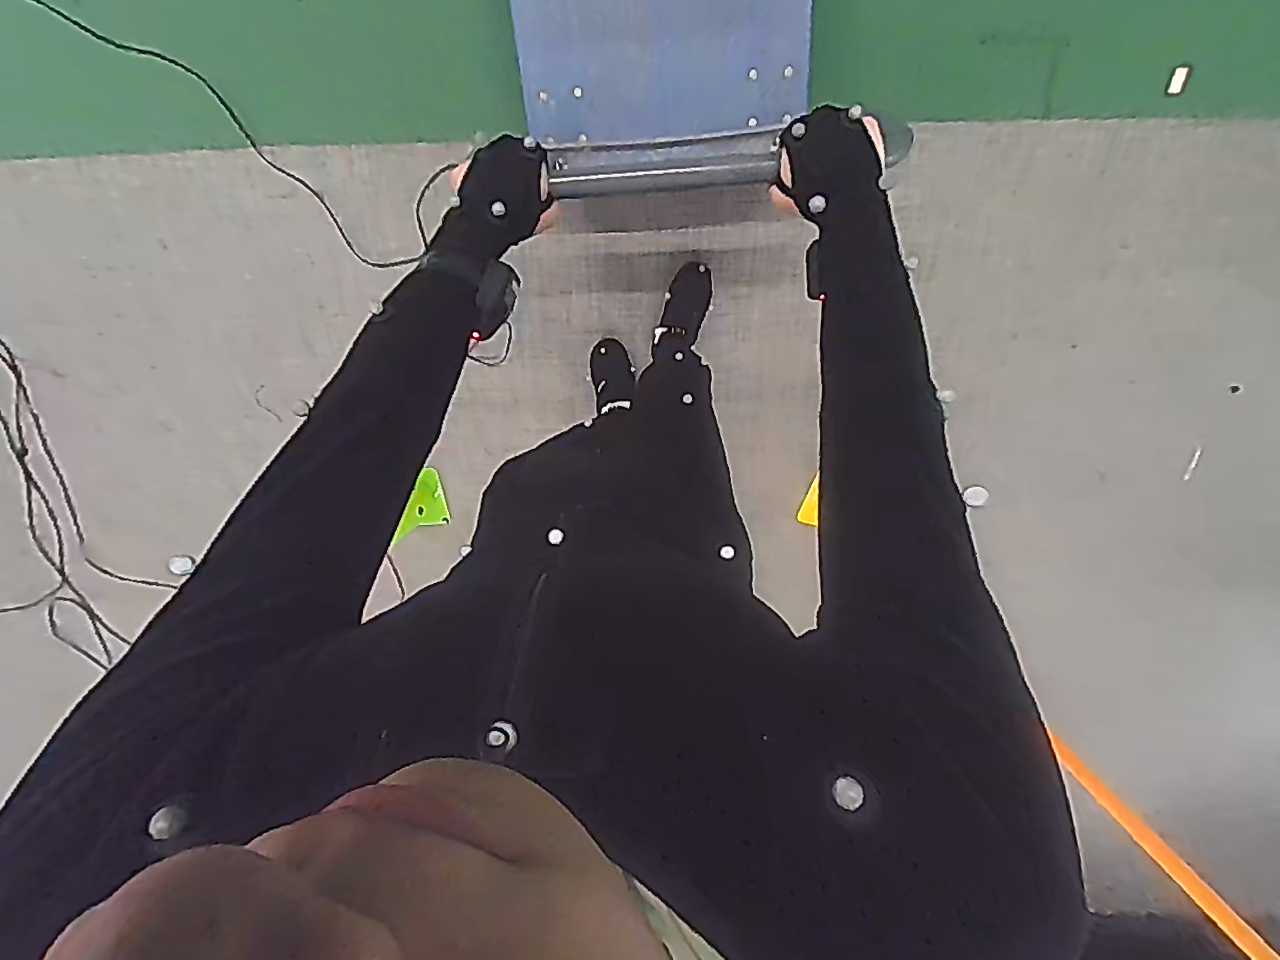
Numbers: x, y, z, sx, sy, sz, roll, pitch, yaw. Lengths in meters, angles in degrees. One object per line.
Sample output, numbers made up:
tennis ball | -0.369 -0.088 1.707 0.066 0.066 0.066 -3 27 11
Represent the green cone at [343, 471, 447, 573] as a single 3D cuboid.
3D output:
green cone | -0.729 0.140 1.547 0.202 0.368 0.200 -4 116 5
